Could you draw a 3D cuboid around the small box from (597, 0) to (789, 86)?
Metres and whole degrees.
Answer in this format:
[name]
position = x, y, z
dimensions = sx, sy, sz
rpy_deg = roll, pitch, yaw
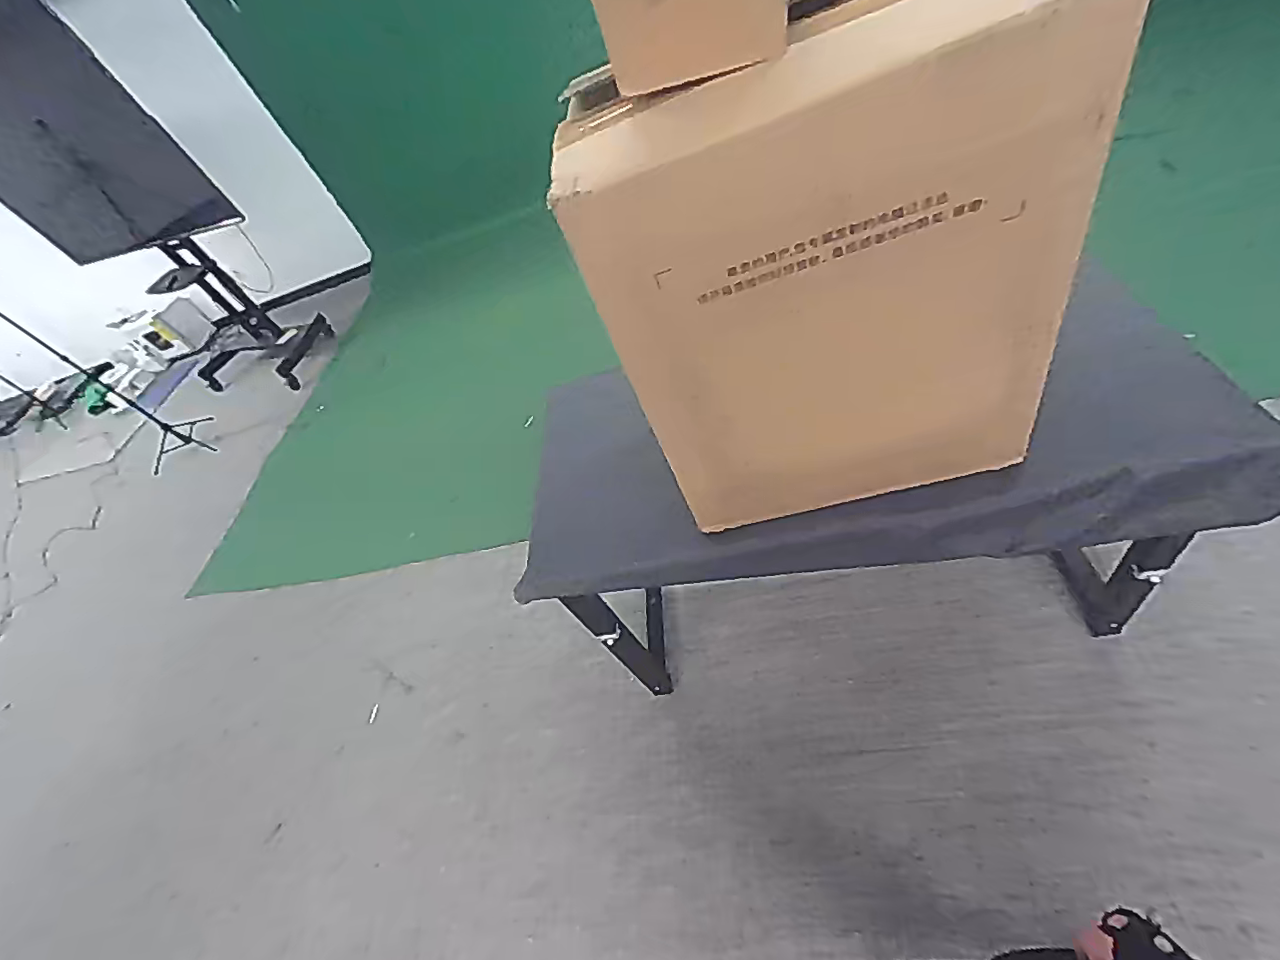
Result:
[small box]
position = 0.047, -0.530, 0.527
dimensions = 0.179, 0.176, 0.168
rpy_deg = -2, 64, 20
